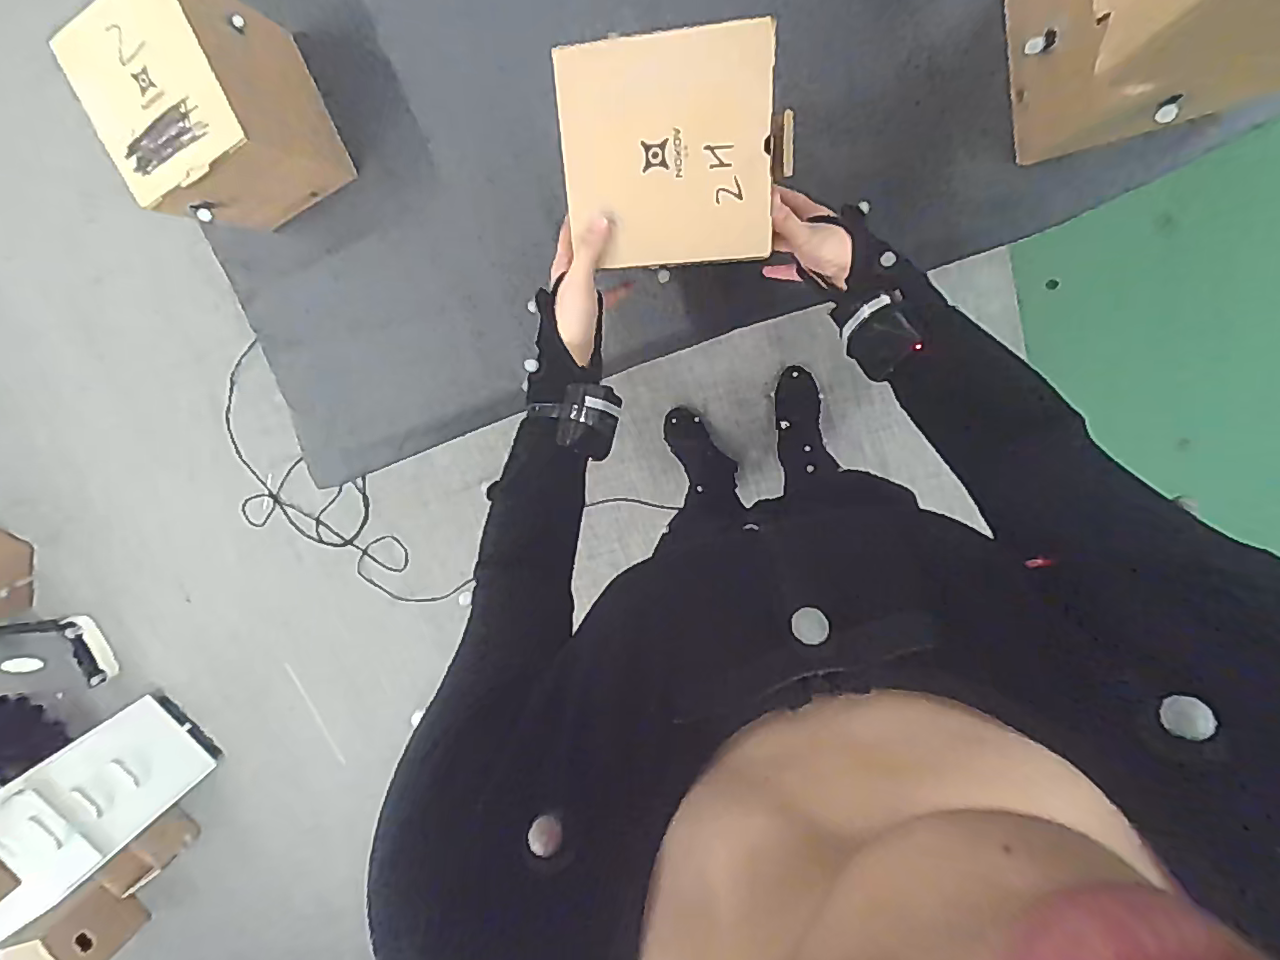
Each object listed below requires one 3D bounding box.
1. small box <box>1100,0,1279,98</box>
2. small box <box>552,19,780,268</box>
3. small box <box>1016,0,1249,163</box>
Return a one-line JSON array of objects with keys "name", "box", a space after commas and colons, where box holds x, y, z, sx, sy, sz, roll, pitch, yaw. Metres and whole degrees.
[{"name": "small box", "box": [0.408, -0.333, 0.289, 0.179, 0.176, 0.168, 11, 106, 9]}, {"name": "small box", "box": [0.032, -0.291, 0.508, 0.179, 0.176, 0.168, 0, 113, 9]}, {"name": "small box", "box": [0.435, -0.389, 0.440, 0.179, 0.176, 0.168, -10, 102, 16]}]
